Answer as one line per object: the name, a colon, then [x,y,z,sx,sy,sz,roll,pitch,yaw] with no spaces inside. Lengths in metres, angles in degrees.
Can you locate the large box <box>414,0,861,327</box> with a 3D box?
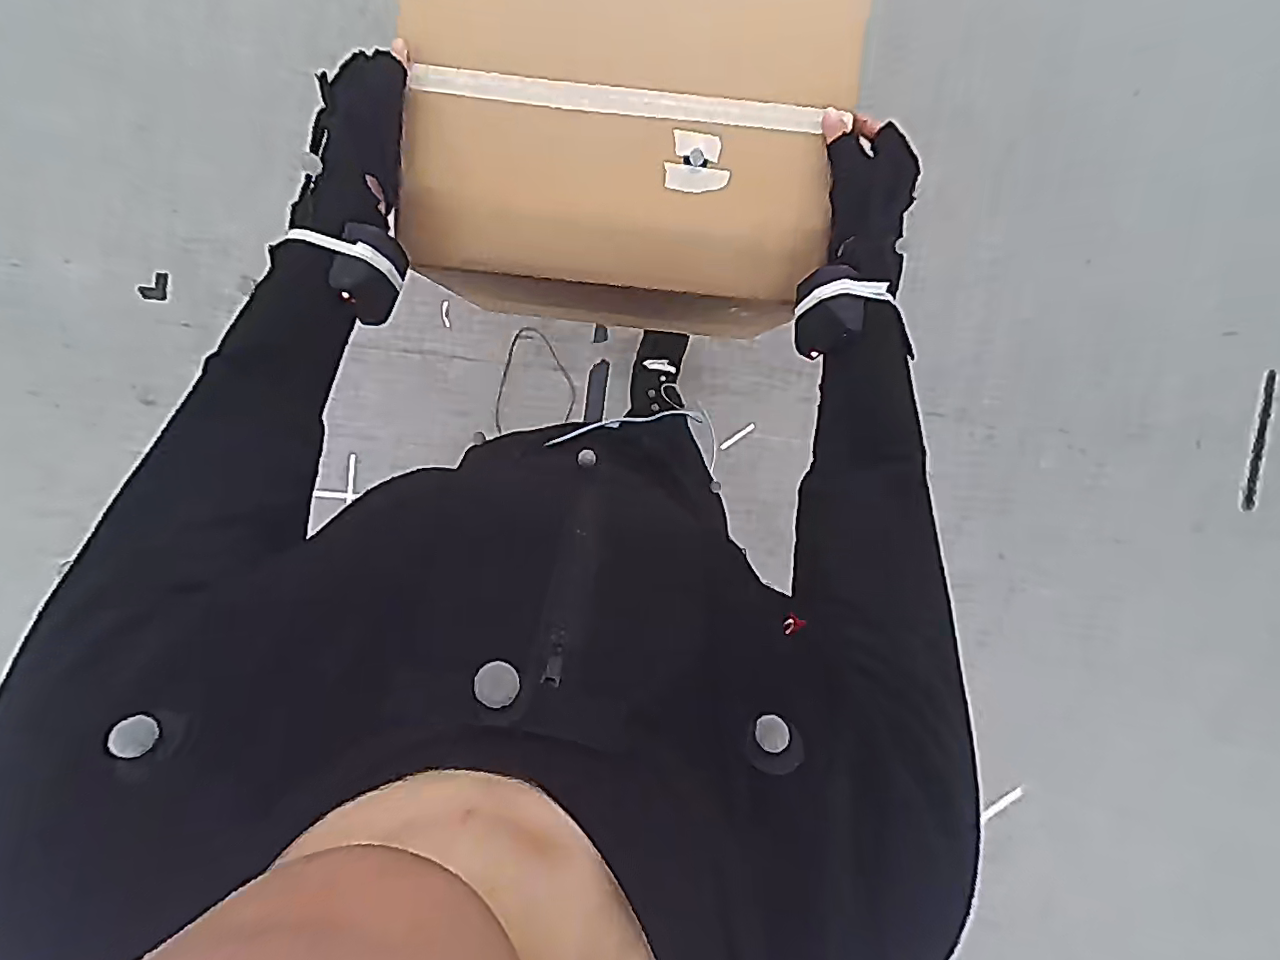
large box: [-0.011,-0.371,0.643,0.408,0.320,0.320,5,99,-2]
